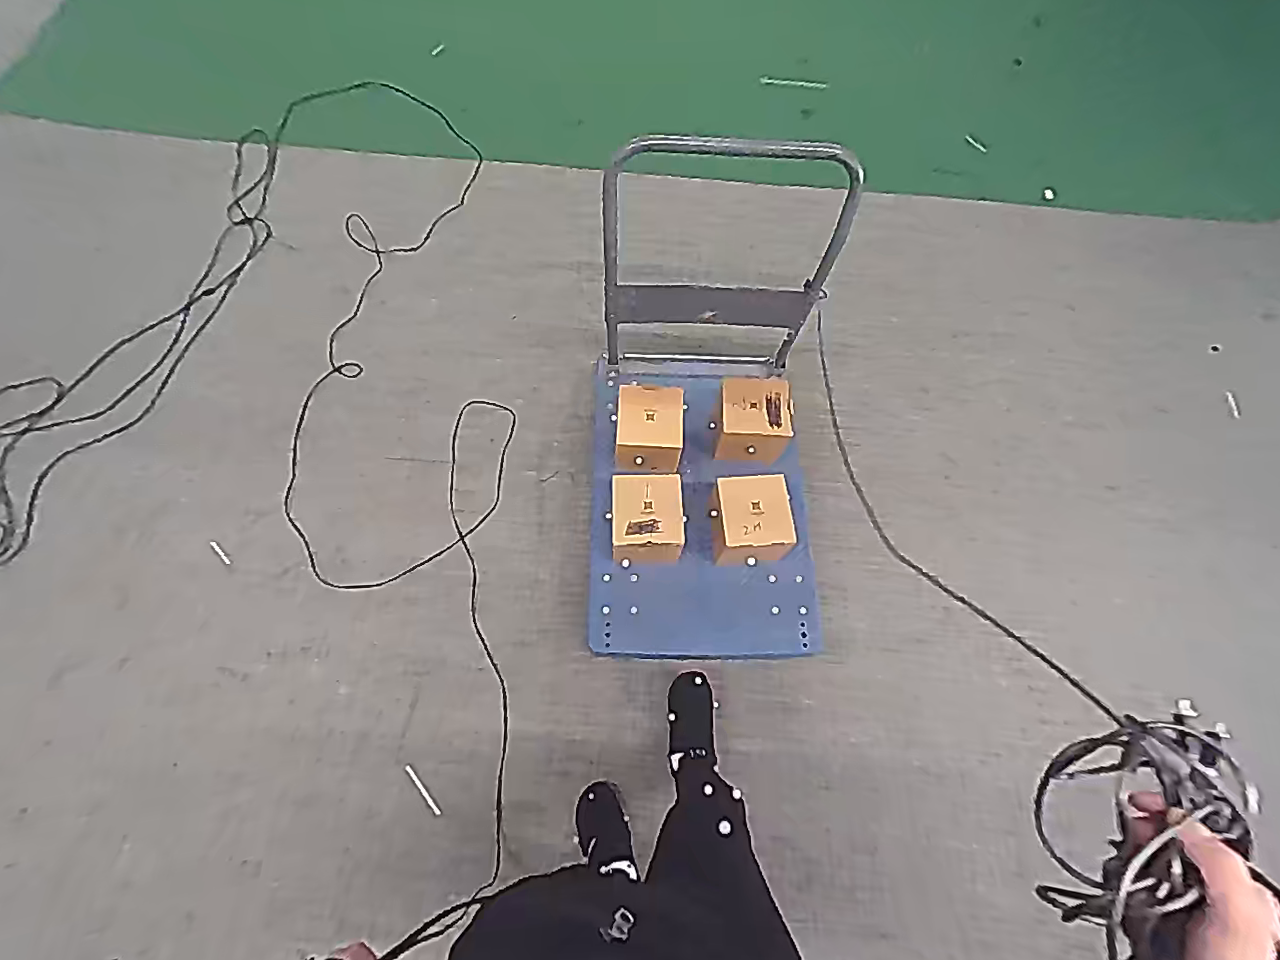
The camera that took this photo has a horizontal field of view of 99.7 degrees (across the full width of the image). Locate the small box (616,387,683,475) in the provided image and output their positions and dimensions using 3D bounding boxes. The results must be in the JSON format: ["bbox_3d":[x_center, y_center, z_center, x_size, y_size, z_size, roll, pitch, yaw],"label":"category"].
[{"bbox_3d":[0.024,-0.124,1.428,0.168,0.176,0.179,3,66,-1],"label":"small box"}]

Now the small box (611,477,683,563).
[{"bbox_3d":[0.013,0.104,1.328,0.168,0.176,0.179,0,66,-3],"label":"small box"}]

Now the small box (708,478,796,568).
[{"bbox_3d":[0.268,0.108,1.337,0.168,0.176,0.179,-3,66,-3],"label":"small box"}]
